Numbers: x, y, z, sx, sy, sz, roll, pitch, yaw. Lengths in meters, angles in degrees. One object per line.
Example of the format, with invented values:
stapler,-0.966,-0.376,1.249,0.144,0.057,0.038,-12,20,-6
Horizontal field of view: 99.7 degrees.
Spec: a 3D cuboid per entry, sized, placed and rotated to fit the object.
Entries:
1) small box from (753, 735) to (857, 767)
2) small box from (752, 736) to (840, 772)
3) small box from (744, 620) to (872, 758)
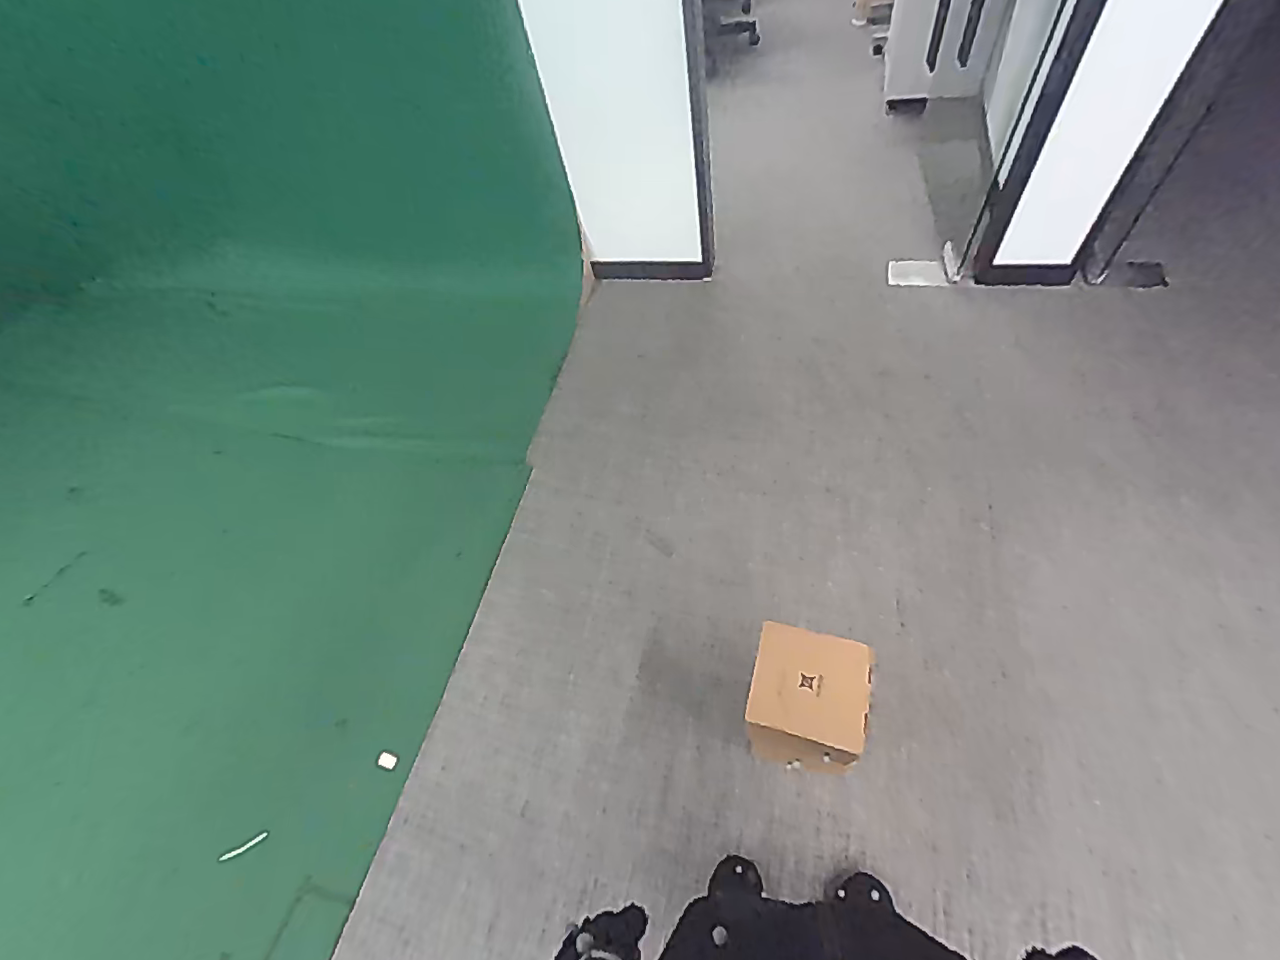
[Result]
small box,0.323,0.443,1.049,0.179,0.176,0.168,10,61,17
small box,0.351,0.523,1.186,0.179,0.176,0.168,12,60,18
small box,0.281,0.359,0.916,0.179,0.176,0.168,8,60,19
